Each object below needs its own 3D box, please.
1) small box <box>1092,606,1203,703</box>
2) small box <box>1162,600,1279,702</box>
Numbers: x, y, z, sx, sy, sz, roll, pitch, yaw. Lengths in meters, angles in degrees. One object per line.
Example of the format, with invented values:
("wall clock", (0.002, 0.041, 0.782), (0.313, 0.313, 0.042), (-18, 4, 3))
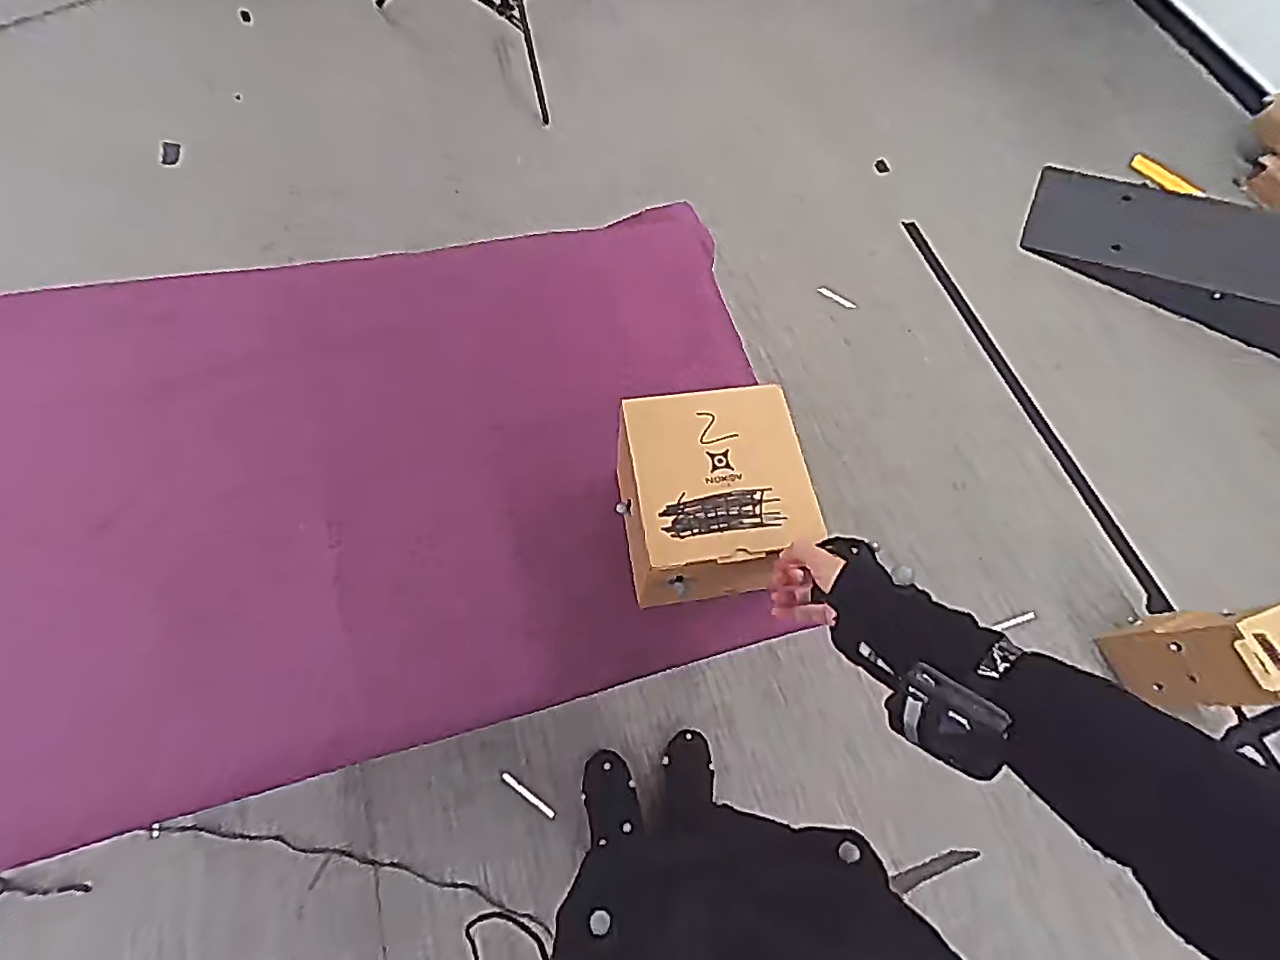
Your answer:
("small box", (1.288, 0.431, 1.329), (0.168, 0.176, 0.179), (-17, 70, -13))
("small box", (1.305, 0.375, 1.175), (0.179, 0.176, 0.168), (-14, 70, -13))
